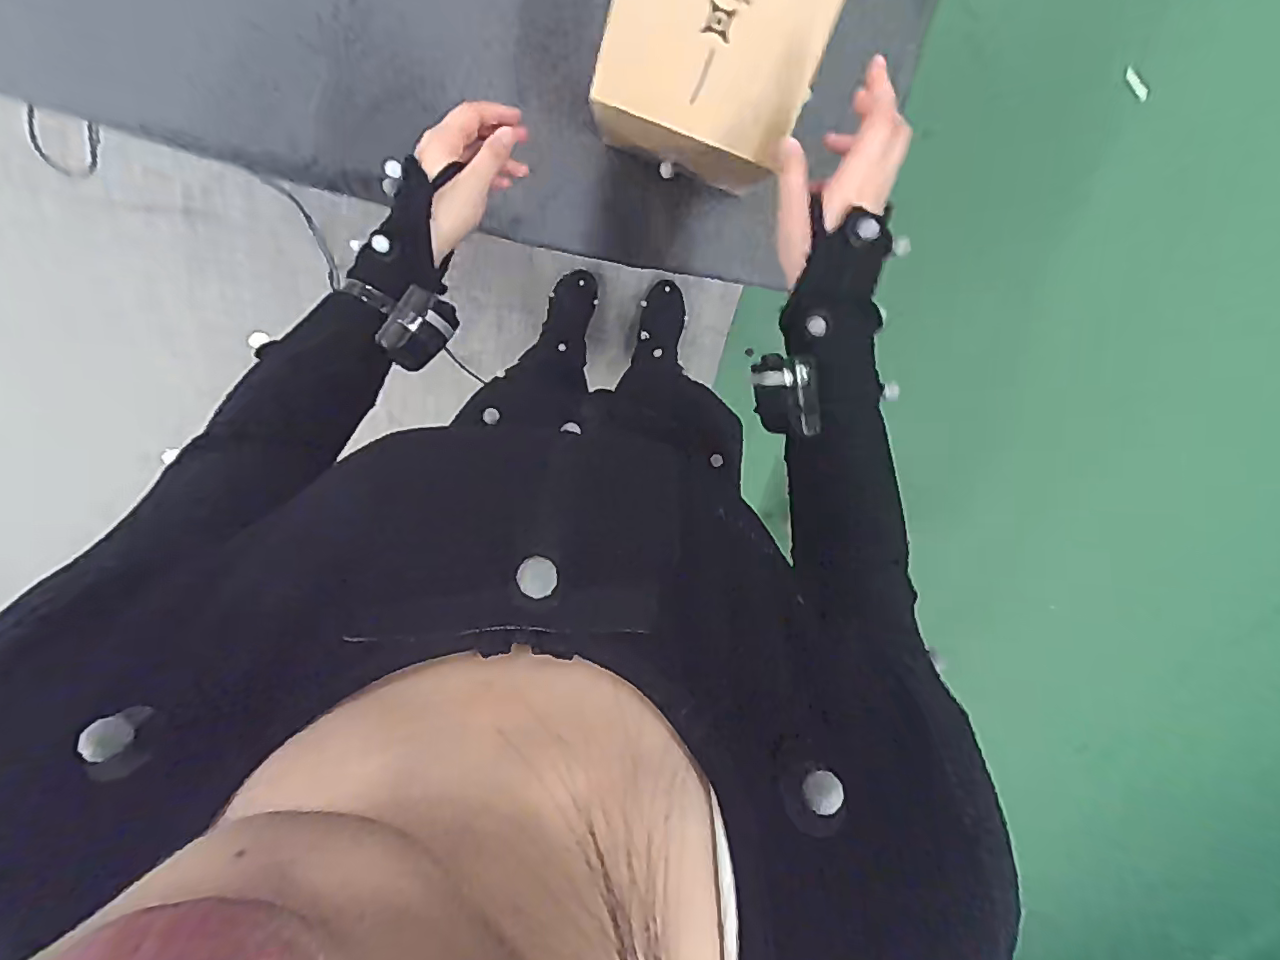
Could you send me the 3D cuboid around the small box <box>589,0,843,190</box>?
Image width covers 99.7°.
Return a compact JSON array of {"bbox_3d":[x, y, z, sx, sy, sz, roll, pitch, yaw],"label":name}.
[{"bbox_3d":[0.064,-0.384,0.478,0.168,0.176,0.179,19,111,-6],"label":"small box"}]
